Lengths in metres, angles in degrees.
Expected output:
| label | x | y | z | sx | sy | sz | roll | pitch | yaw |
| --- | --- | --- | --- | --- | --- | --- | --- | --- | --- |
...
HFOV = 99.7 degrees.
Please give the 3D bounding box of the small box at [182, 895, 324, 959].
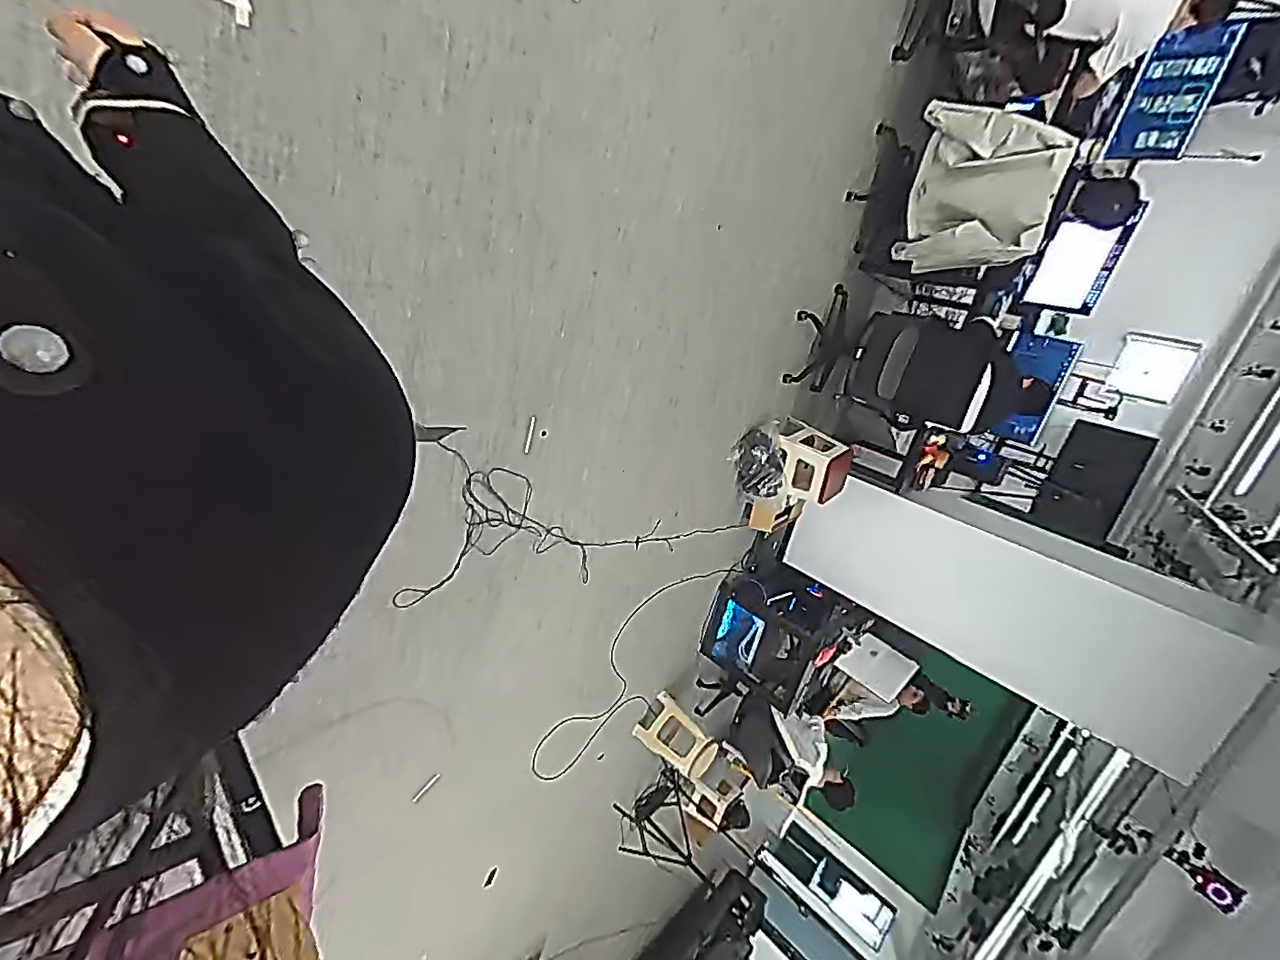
| label | x | y | z | sx | sy | sz | roll | pitch | yaw |
| --- | --- | --- | --- | --- | --- | --- | --- | --- | --- |
| small box | -0.669 | 0.869 | 0.928 | 0.168 | 0.176 | 0.179 | -3 | 115 | -49 |
